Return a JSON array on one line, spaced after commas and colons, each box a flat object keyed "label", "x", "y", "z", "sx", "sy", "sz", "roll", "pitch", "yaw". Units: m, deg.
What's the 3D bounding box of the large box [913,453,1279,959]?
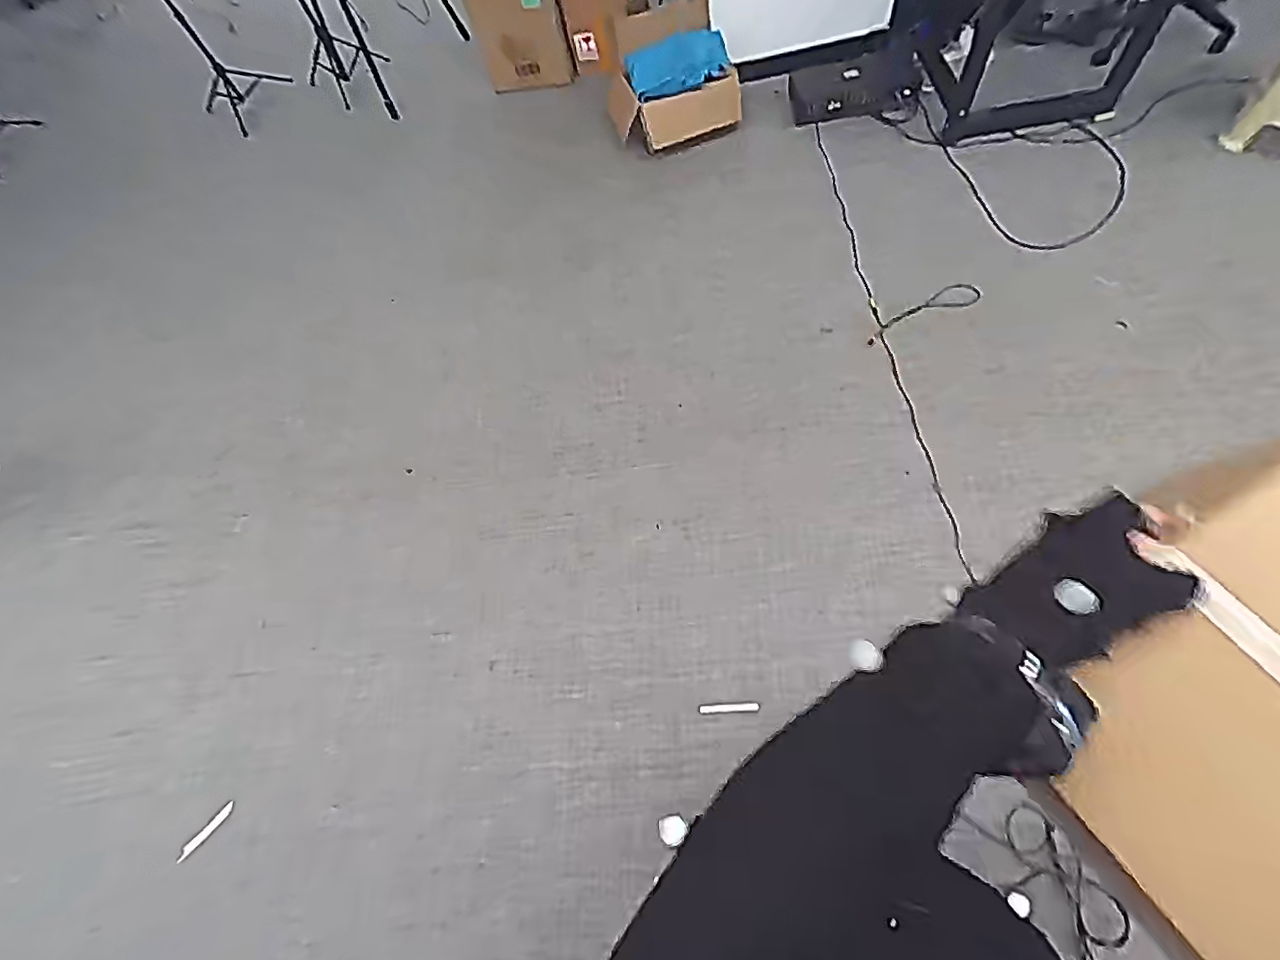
[{"label": "large box", "x": 0.517, "y": 0.241, "z": 0.450, "sx": 0.320, "sy": 0.320, "sz": 0.408, "roll": -39, "pitch": 69, "yaw": 7}]
